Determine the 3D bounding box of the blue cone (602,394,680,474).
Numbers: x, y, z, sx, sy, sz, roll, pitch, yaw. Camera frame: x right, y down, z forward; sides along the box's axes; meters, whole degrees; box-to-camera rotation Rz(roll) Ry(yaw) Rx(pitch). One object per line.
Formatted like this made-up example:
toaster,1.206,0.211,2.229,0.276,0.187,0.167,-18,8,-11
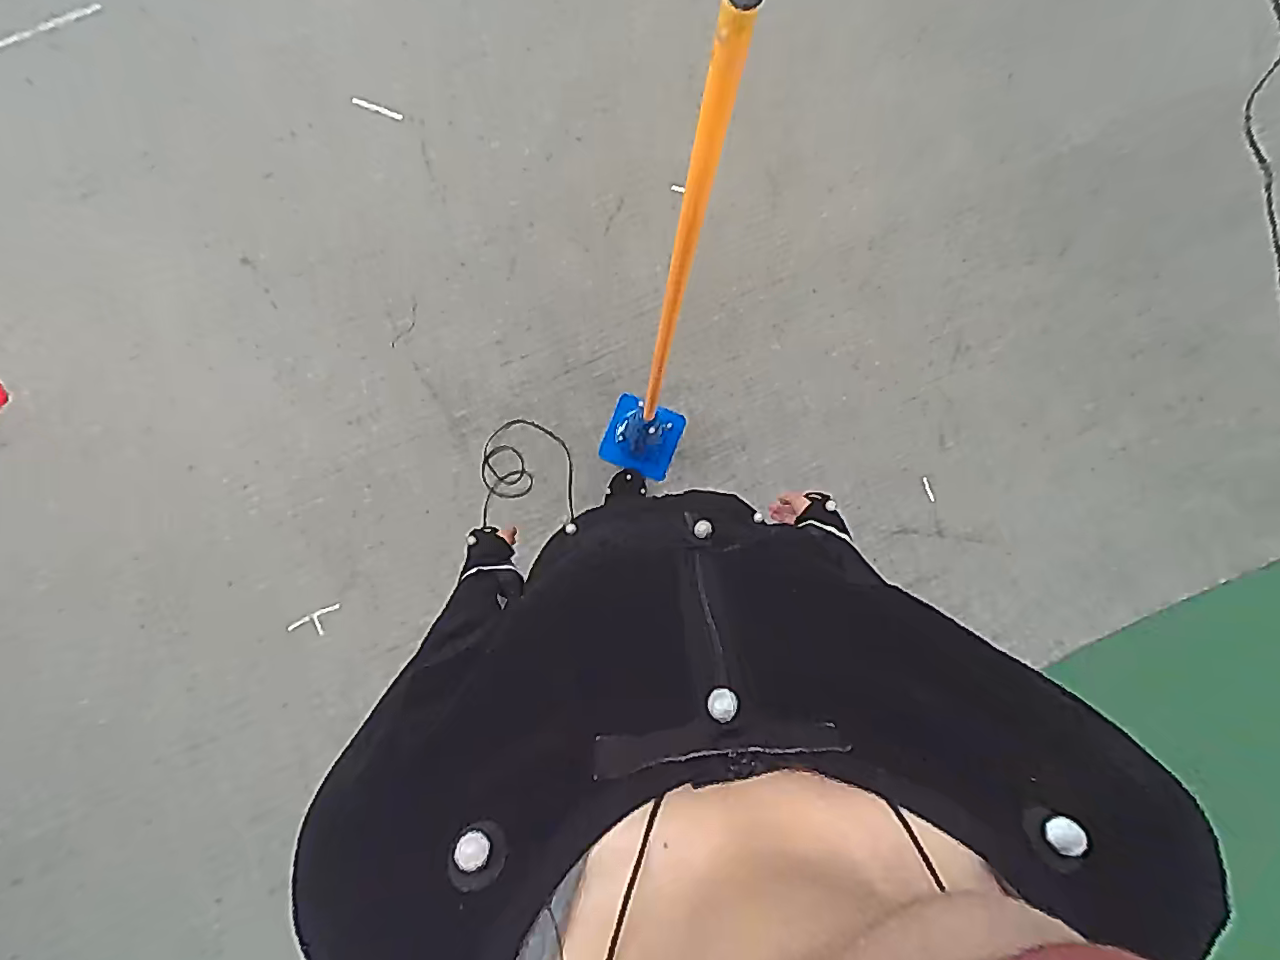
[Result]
blue cone,0.010,-0.137,1.320,0.192,0.380,0.193,20,86,-2
